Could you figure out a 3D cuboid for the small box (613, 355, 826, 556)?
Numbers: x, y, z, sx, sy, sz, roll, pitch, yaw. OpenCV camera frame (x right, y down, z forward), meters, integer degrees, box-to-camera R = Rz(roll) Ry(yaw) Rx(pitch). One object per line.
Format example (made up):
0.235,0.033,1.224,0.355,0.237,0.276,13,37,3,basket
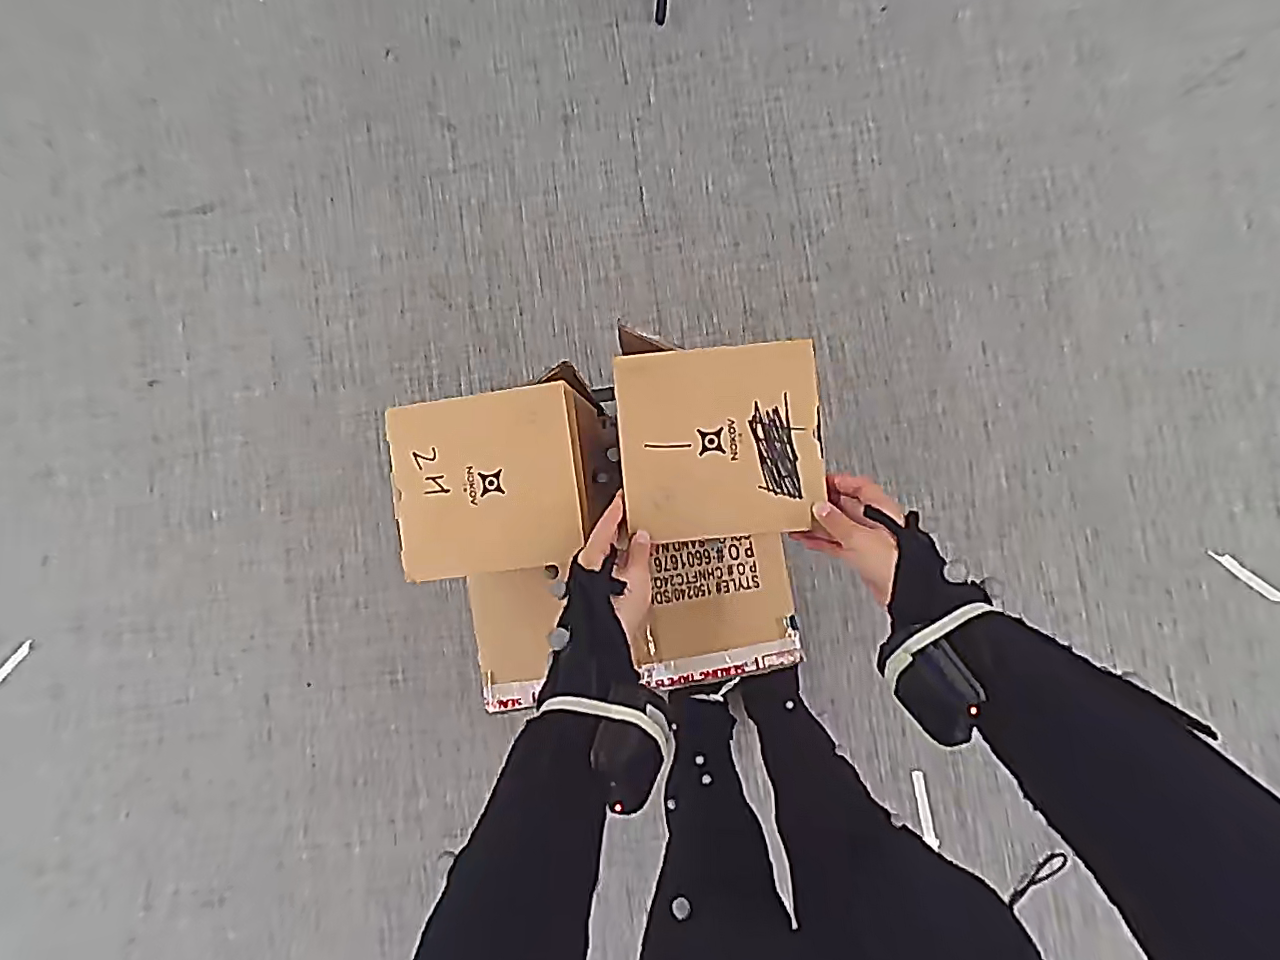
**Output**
0.069,-0.020,0.550,0.179,0.176,0.168,-6,88,1,small box

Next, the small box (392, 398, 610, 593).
-0.132,0.017,0.580,0.179,0.176,0.168,-8,86,6,small box
